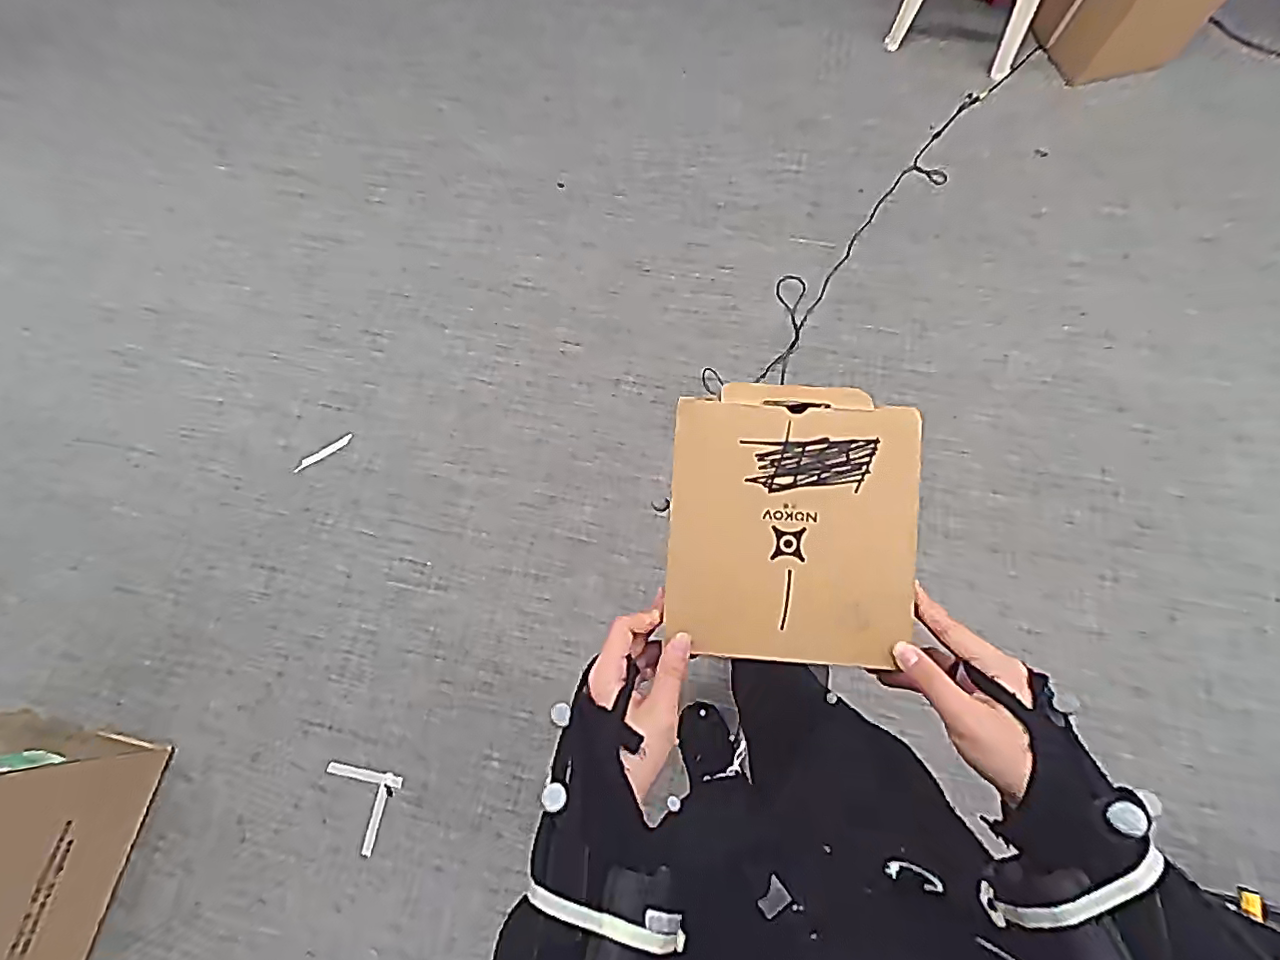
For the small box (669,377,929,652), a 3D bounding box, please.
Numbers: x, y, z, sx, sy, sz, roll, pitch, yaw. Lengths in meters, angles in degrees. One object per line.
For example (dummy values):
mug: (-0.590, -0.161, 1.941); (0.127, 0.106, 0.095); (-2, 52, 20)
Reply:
small box: (0.111, 0.026, 0.441); (0.168, 0.176, 0.179); (4, 87, 4)
